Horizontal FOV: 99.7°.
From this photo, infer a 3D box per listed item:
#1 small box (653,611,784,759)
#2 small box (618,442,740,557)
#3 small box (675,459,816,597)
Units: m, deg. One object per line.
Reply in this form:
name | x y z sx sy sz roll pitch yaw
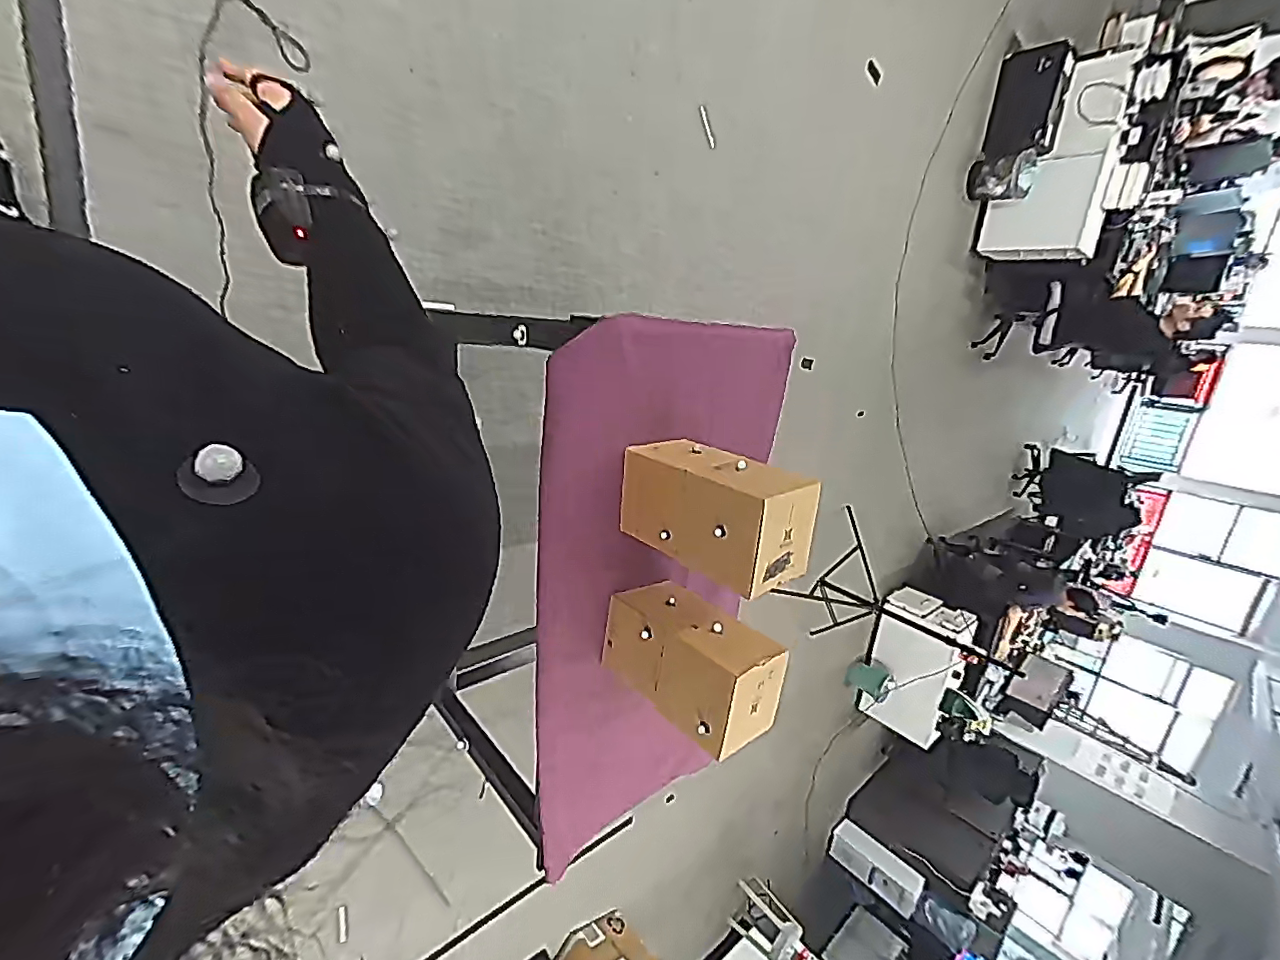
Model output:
small box | 0.144 0.378 1.030 0.168 0.176 0.179 -5 109 -44
small box | 0.072 0.027 1.065 0.168 0.176 0.179 -12 114 -41
small box | 0.179 0.074 0.949 0.168 0.176 0.179 -12 114 -41
